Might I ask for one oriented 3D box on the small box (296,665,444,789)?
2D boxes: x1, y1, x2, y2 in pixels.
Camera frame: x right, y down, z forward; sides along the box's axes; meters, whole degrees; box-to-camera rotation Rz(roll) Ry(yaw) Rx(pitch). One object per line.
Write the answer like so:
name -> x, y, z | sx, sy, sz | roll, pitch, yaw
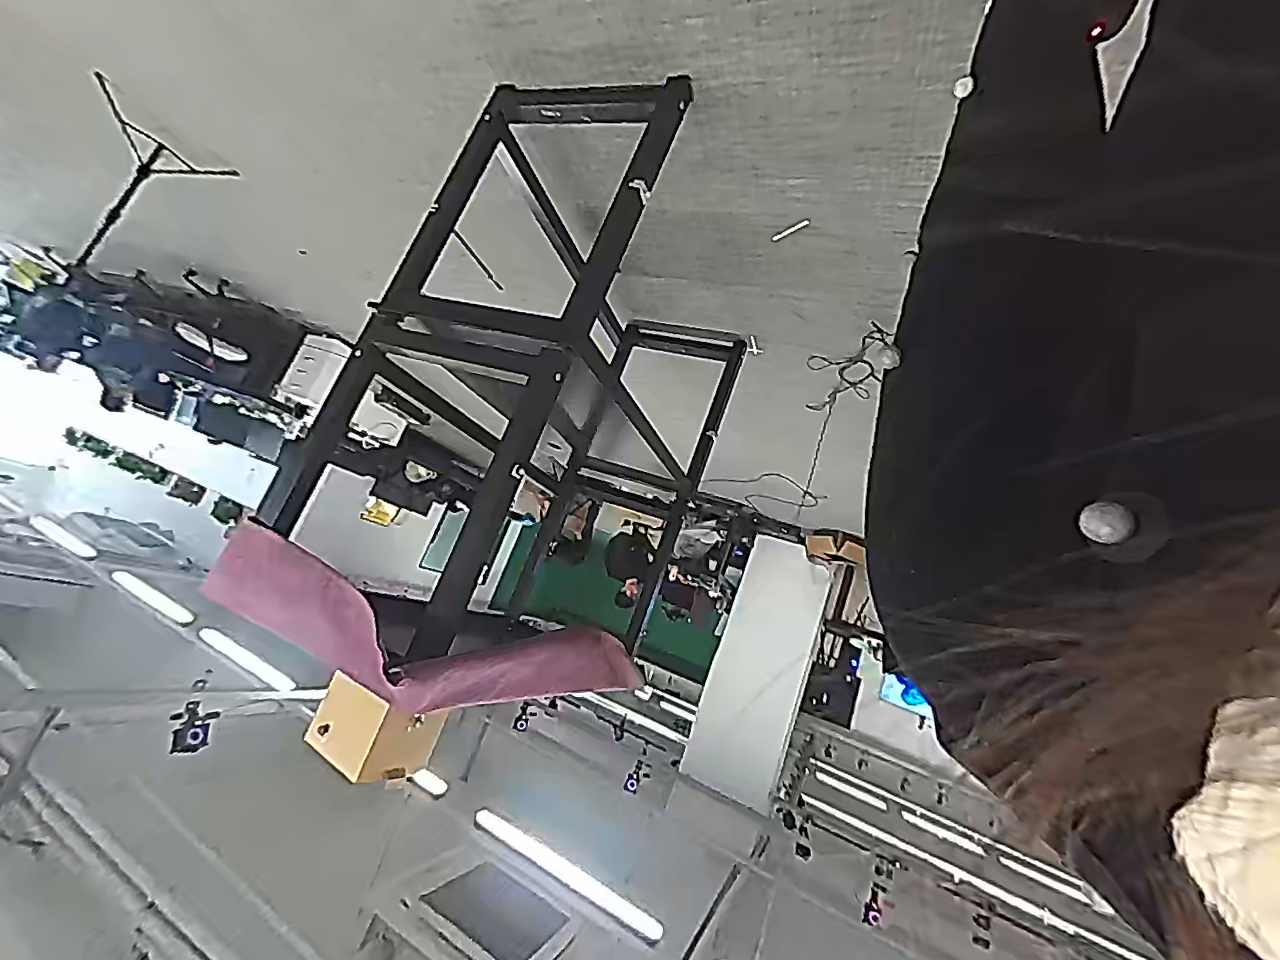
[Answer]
small box -> -0.527, 0.476, 1.074 | 0.179, 0.176, 0.168 | 15, 168, 30
